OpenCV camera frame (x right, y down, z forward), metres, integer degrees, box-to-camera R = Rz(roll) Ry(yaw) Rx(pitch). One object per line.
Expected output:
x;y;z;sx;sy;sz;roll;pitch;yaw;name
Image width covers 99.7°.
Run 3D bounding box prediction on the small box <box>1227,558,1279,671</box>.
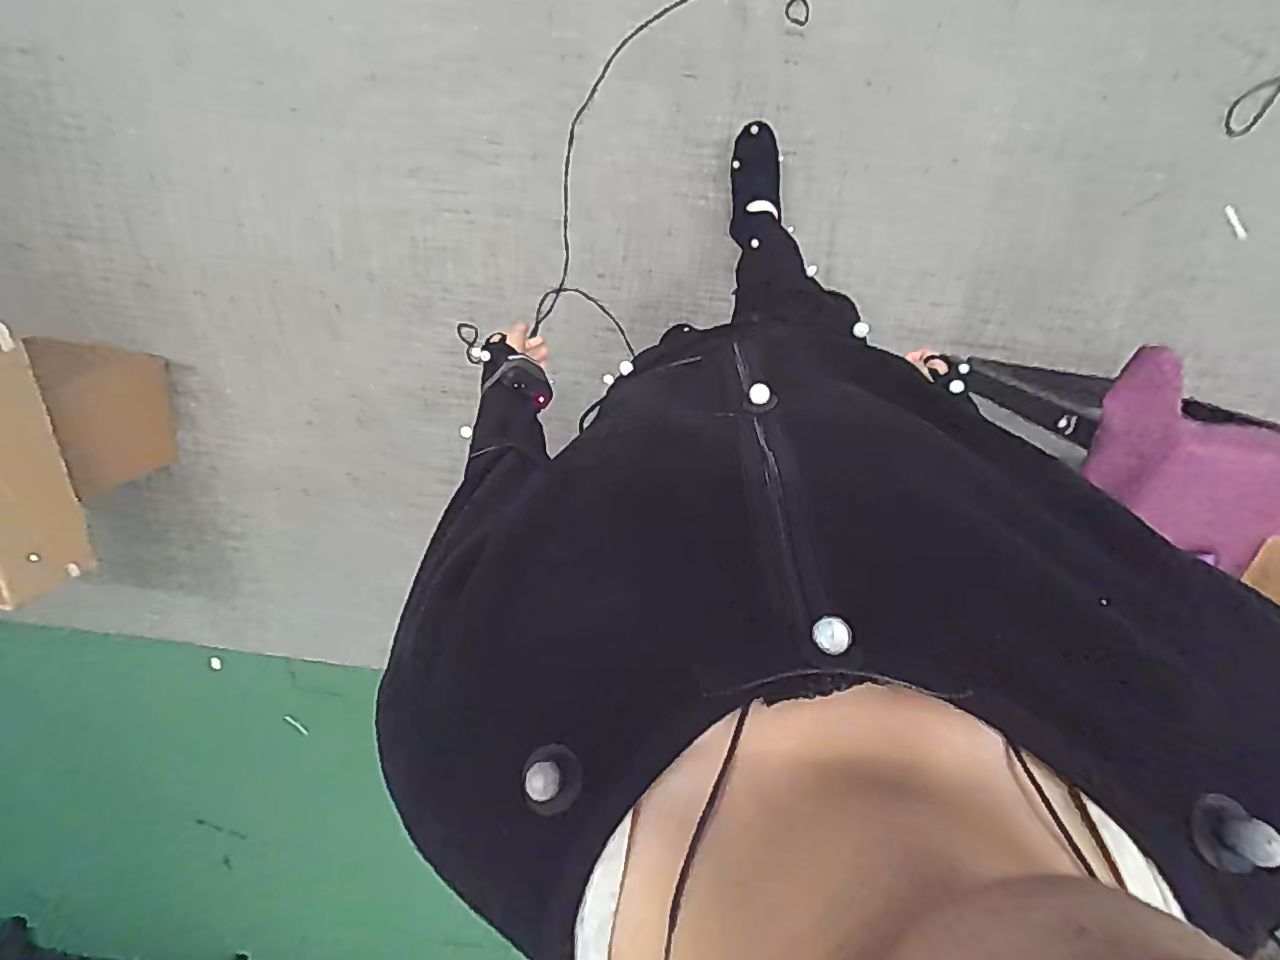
0.953;0.197;0.701;0.179;0.176;0.168;6;113;1;small box
